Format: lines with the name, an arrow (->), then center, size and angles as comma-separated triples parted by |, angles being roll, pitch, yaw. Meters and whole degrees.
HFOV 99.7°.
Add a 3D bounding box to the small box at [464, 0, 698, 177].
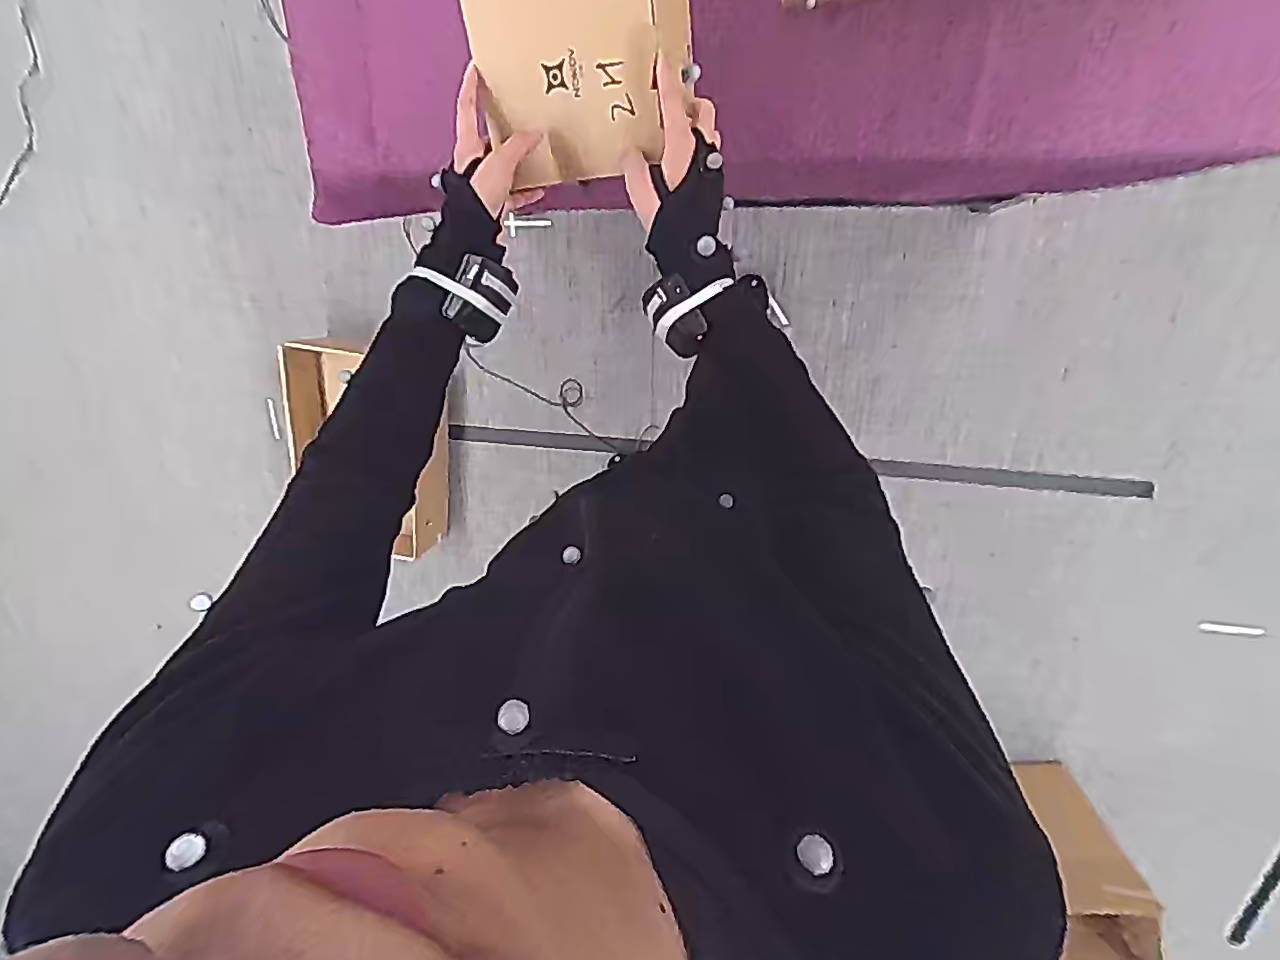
small box -> -0.045, -0.407, 0.545 | 0.179, 0.176, 0.168 | 2, 121, 16
